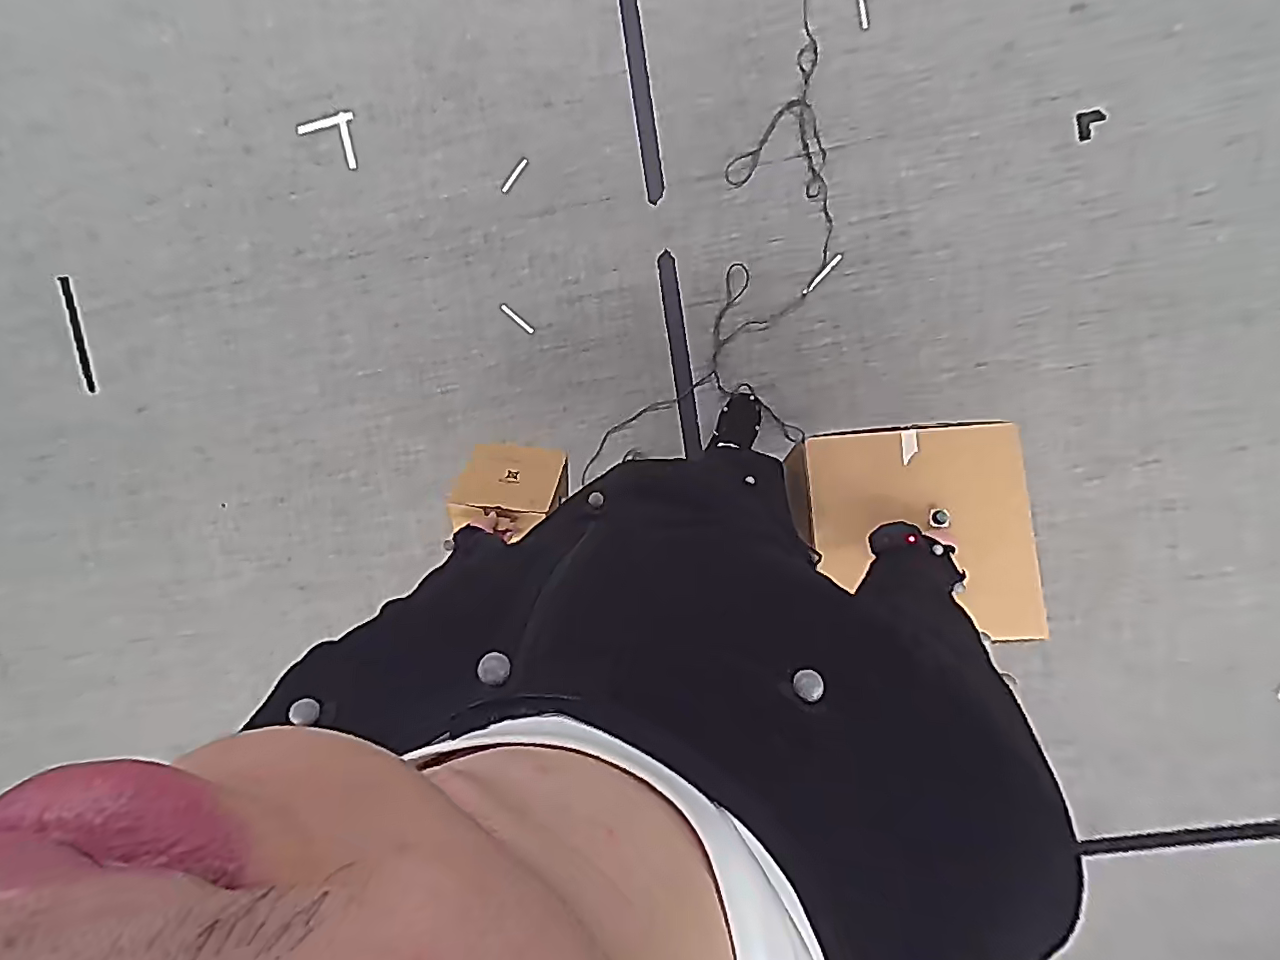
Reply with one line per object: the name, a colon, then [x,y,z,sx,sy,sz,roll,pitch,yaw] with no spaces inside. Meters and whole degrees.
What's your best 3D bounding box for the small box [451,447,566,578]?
small box: [-0.233,0.061,1.007,0.168,0.179,0.176,7,127,1]
